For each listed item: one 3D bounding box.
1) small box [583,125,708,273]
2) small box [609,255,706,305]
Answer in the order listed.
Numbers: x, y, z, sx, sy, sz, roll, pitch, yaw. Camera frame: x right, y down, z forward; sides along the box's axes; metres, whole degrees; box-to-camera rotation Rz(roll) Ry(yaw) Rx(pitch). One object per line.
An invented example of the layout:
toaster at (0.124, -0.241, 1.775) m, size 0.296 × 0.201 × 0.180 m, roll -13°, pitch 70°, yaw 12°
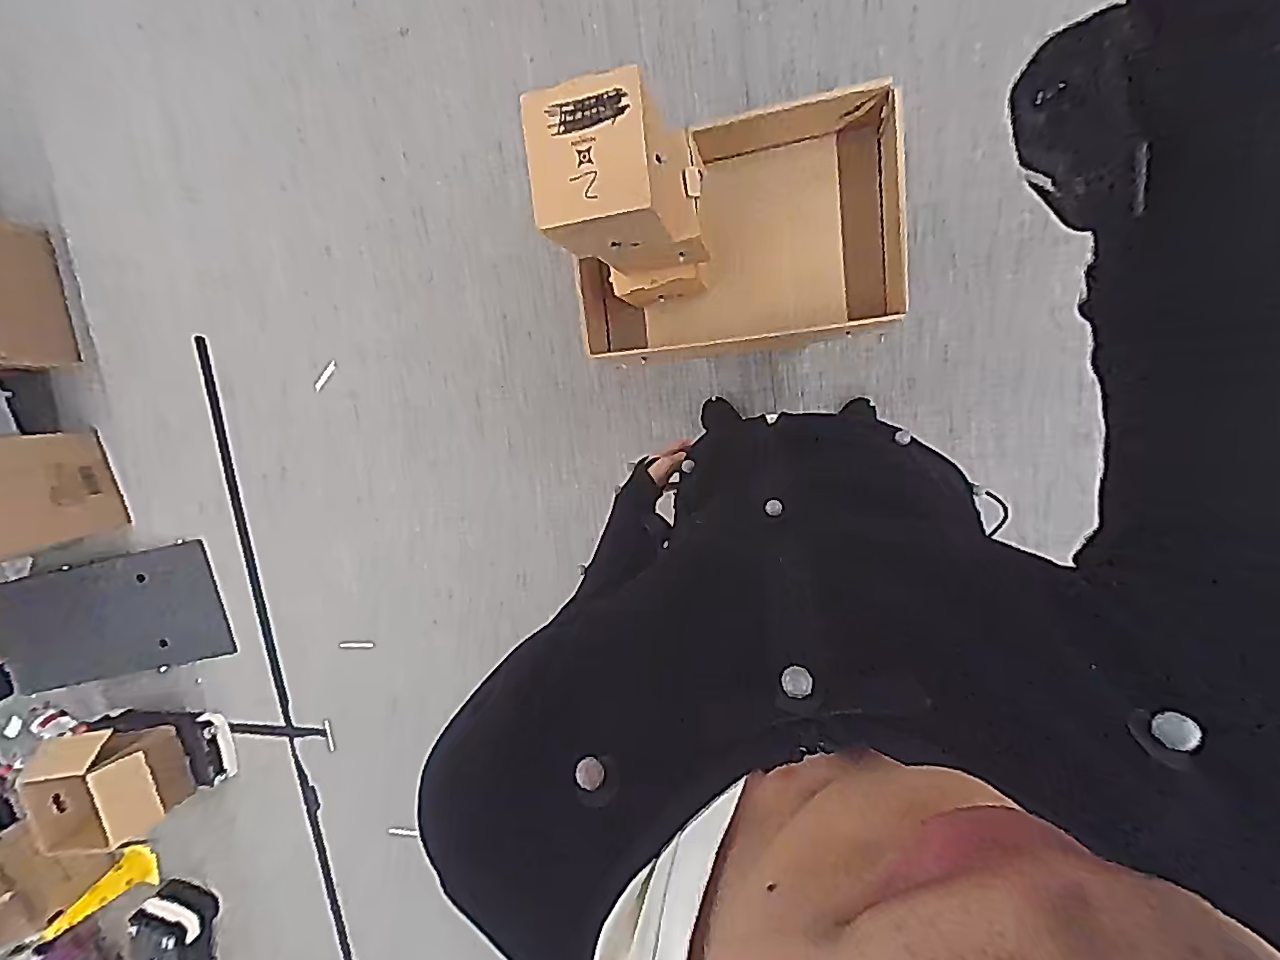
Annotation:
small box at (0.020, -0.466, 0.925) m, size 0.179 × 0.176 × 0.168 m, roll -5°, pitch 98°, yaw 15°
small box at (0.032, -0.469, 1.092) m, size 0.168 × 0.176 × 0.179 m, roll -9°, pitch 97°, yaw 16°
